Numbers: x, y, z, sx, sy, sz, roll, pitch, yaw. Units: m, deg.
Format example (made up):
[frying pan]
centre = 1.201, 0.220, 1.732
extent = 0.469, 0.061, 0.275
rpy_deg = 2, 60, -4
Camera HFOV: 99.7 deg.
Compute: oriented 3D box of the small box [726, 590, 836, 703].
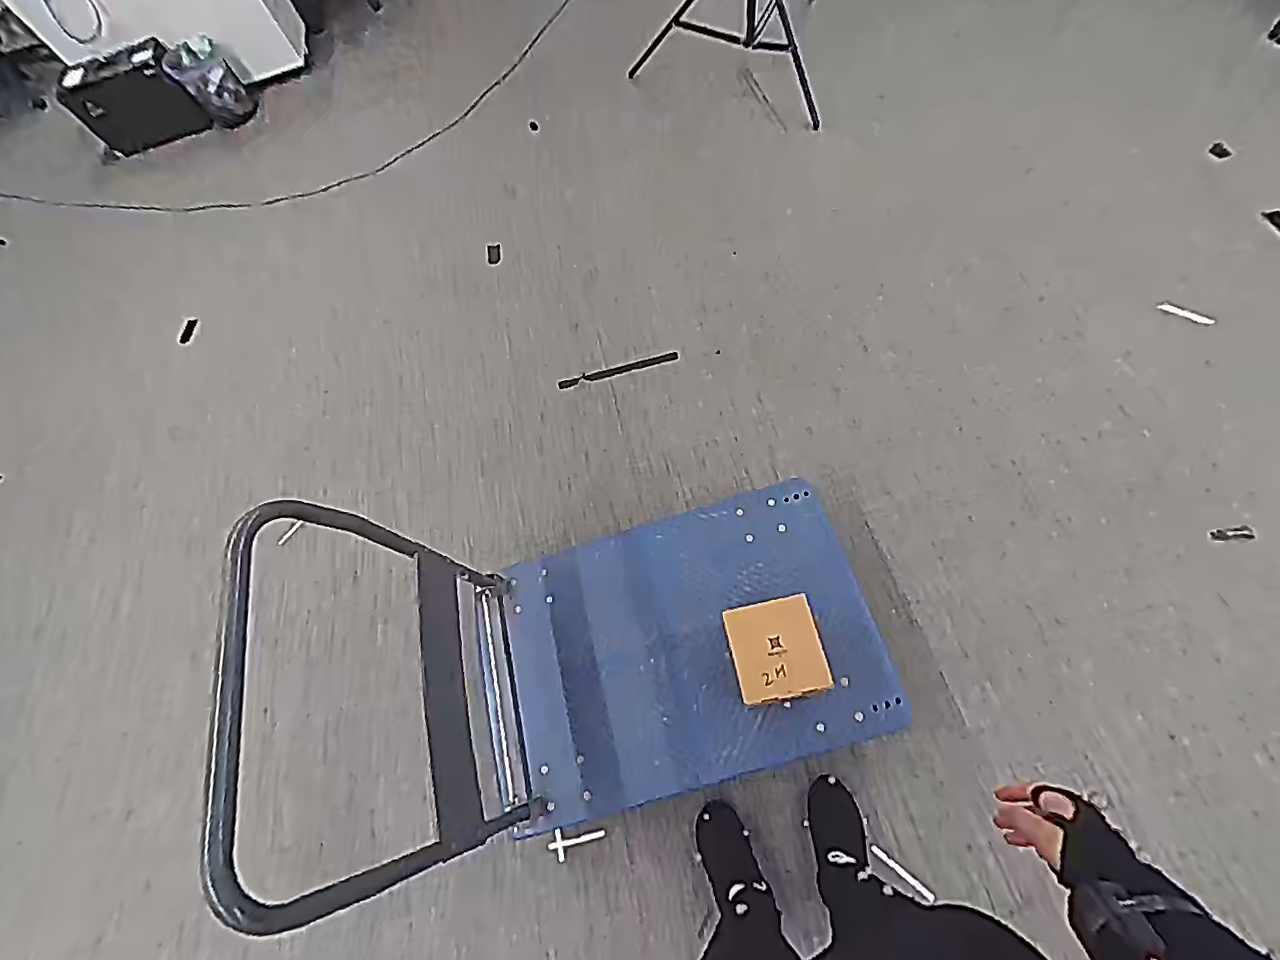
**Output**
[small box]
centre = 0.273, 0.339, 1.086
extent = 0.168, 0.176, 0.179
rpy_deg = -14, 64, 5
